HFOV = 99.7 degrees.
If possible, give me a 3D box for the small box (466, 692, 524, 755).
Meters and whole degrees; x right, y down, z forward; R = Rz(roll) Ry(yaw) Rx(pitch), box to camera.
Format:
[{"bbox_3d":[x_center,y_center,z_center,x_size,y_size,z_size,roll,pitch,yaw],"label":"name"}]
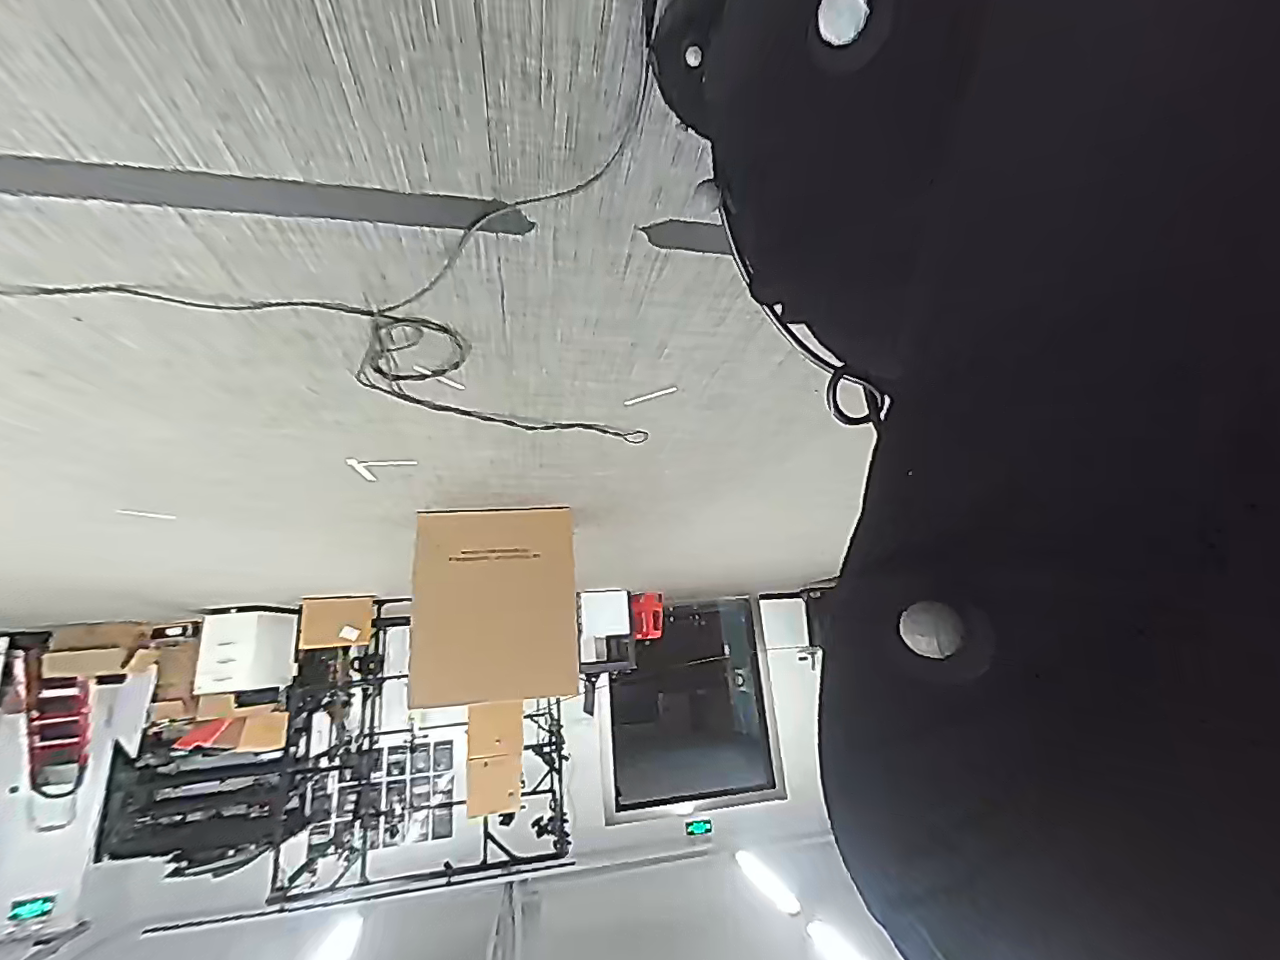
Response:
[{"bbox_3d":[-0.484,0.813,1.820,0.179,0.176,0.168,-2,164,-11],"label":"small box"}]
